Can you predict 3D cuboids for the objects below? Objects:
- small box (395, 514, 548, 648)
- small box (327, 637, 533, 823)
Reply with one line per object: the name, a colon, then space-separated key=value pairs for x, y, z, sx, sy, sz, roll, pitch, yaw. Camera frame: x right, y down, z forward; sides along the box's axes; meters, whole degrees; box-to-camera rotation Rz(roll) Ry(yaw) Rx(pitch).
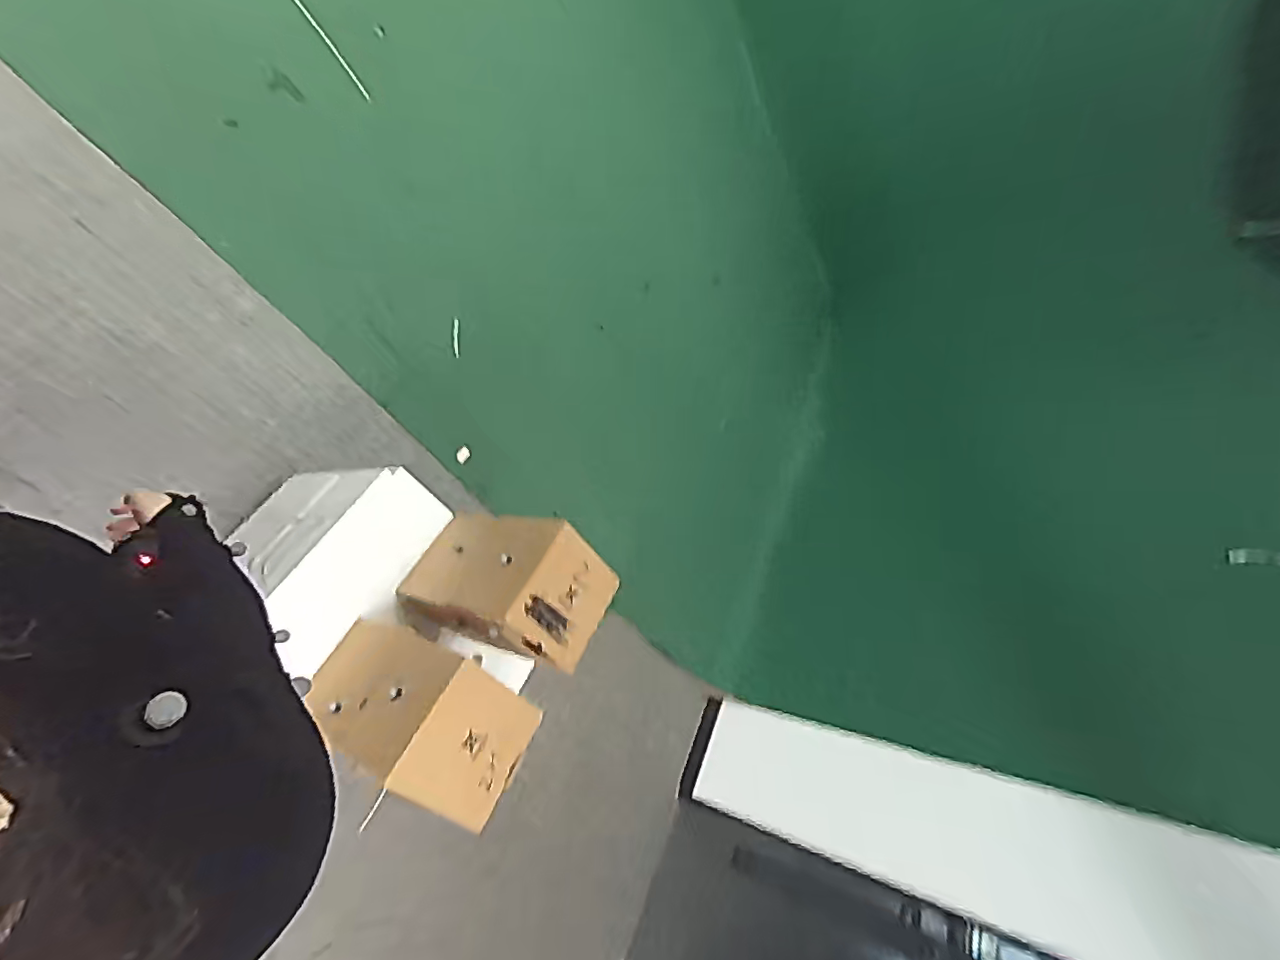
small box: x=-0.311 y=0.178 z=0.997 sx=0.168 sy=0.176 sz=0.179 roll=54 pitch=53 yaw=-35
small box: x=-0.294 y=0.339 z=0.761 sx=0.179 sy=0.176 sz=0.168 roll=56 pitch=51 yaw=-34
